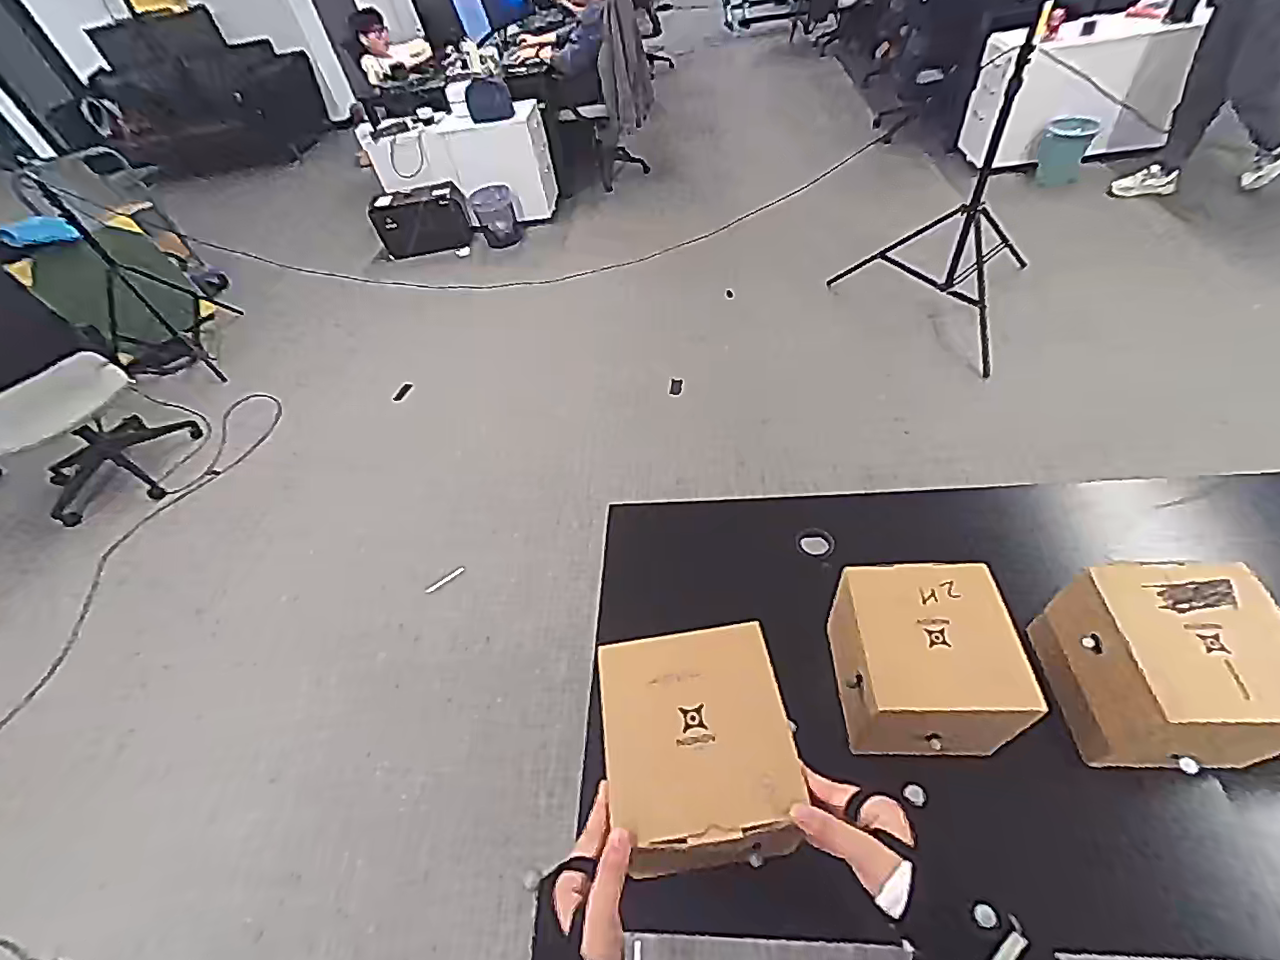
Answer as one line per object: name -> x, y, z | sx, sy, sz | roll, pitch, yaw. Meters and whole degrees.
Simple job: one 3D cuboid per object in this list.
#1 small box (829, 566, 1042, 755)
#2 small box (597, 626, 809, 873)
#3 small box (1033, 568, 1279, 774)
small box -> 0.339, 0.226, 0.664 | 0.168, 0.176, 0.179 | -3, 48, 7
small box -> 0.055, 0.275, 0.543 | 0.168, 0.176, 0.179 | -9, 47, -1
small box -> 0.601, 0.220, 0.624 | 0.168, 0.176, 0.179 | -3, 49, 8
